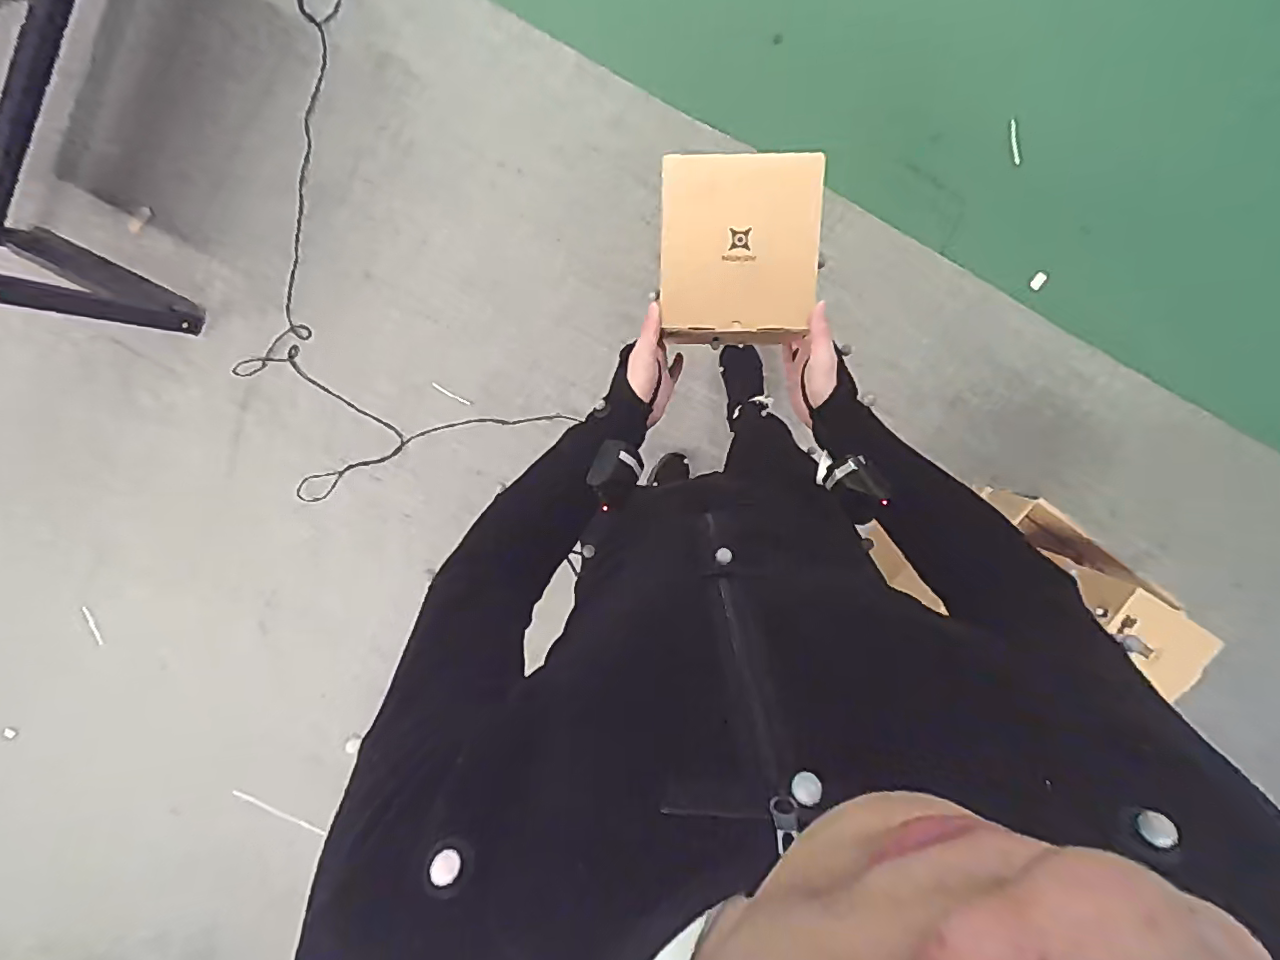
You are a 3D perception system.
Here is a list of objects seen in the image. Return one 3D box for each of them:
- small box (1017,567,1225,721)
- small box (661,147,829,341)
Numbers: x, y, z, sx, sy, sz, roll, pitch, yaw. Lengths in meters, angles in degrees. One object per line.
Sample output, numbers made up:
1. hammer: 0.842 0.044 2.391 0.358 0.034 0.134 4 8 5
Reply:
1. small box: 0.833 0.276 0.956 0.179 0.176 0.168 32 96 -3
2. small box: 0.109 -0.259 0.632 0.168 0.176 0.179 0 101 2
